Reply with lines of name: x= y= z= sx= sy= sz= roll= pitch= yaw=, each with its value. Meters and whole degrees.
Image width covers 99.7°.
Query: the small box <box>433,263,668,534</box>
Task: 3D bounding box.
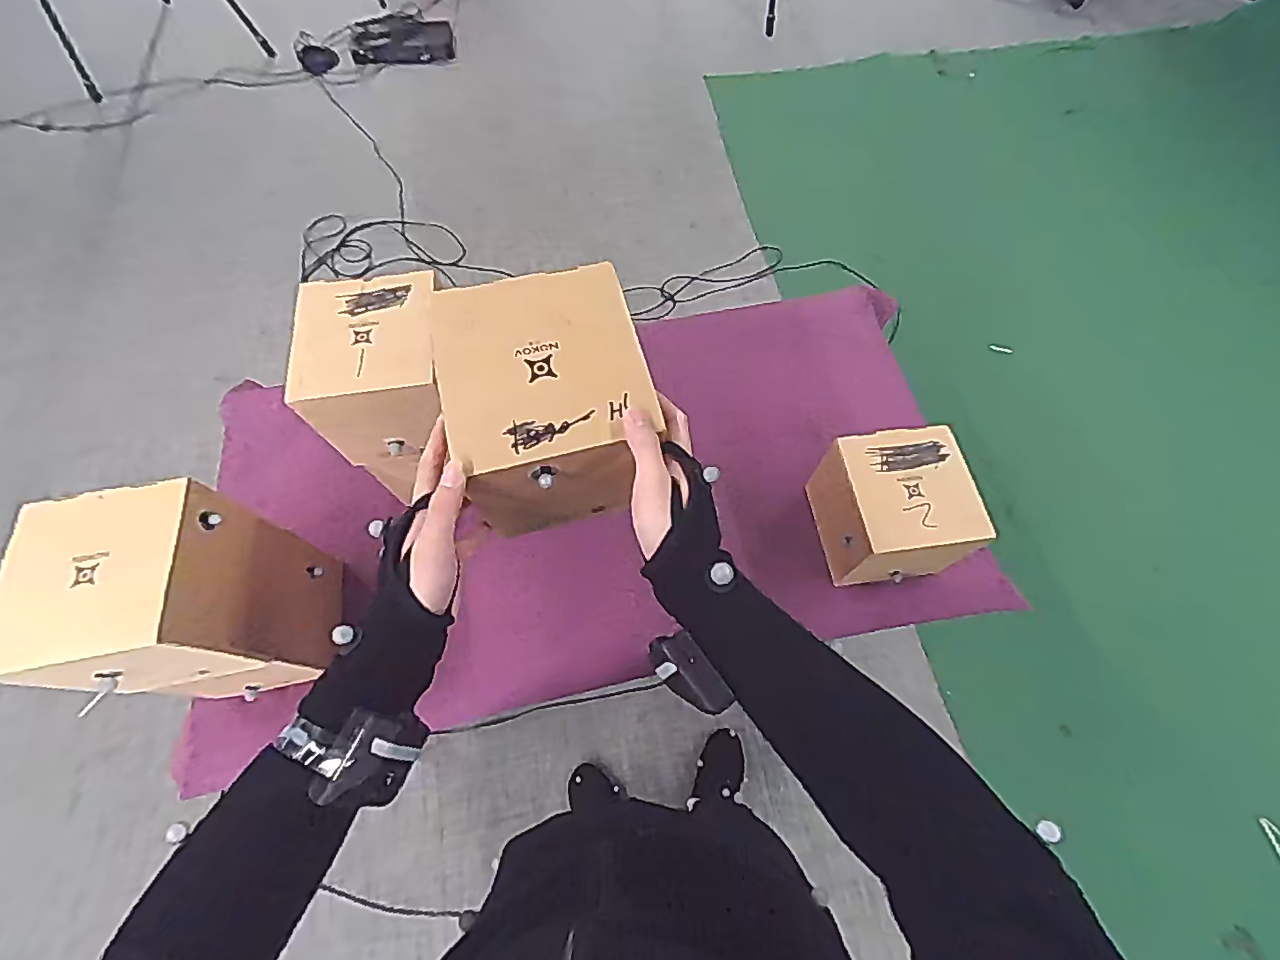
small box: x=-0.080 y=-0.068 z=0.511 sx=0.168 sy=0.176 sz=0.179 roll=-13 pitch=69 yaw=-7

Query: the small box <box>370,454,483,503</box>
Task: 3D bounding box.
small box: x=-0.319 y=-0.080 z=0.861 sx=0.168 sy=0.176 sz=0.179 roll=-6 pitch=66 yaw=-2

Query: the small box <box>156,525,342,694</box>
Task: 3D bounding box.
small box: x=-0.533 y=0.183 z=0.741 sx=0.168 sy=0.176 sz=0.179 roll=-11 pitch=65 yaw=-4

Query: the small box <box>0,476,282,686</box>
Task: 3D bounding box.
small box: x=-0.528 y=0.120 z=0.592 sx=0.168 sy=0.176 sz=0.179 roll=-11 pitch=64 yaw=-3

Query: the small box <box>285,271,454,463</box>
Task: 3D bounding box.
small box: x=-0.324 y=-0.142 z=0.709 sx=0.168 sy=0.176 sz=0.179 roll=-8 pitch=67 yaw=-3
